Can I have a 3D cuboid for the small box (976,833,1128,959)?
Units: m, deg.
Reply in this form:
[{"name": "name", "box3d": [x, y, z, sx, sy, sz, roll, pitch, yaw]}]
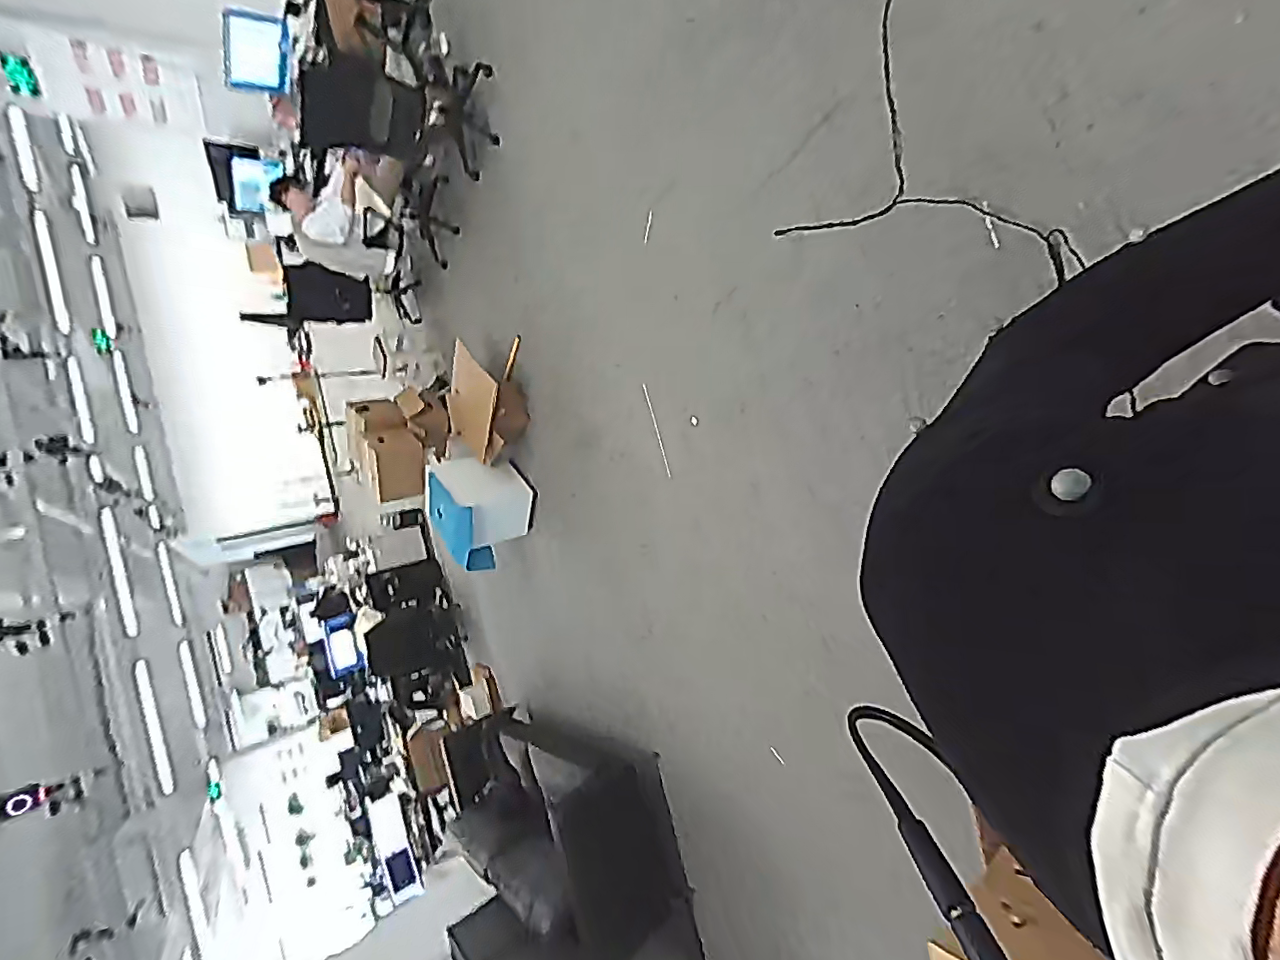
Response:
[{"name": "small box", "box3d": [0.732, 0.781, 0.962, 0.168, 0.176, 0.179, -9, 94, 55]}]
